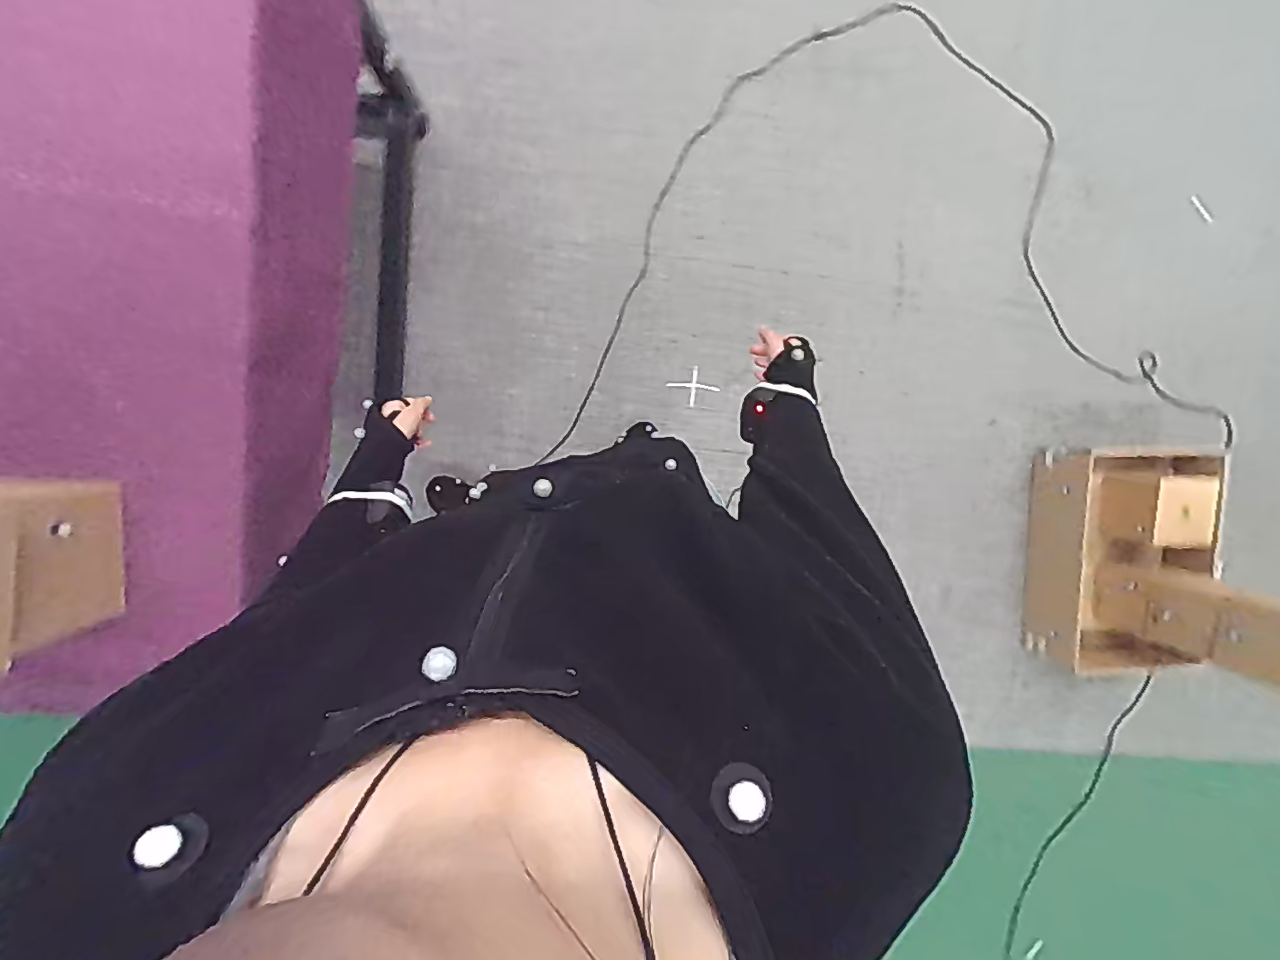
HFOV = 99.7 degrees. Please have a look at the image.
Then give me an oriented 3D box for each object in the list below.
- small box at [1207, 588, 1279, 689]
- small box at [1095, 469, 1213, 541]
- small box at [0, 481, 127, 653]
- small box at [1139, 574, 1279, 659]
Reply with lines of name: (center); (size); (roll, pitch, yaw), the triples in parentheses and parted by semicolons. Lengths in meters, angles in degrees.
small box: (1.427, 0.355, 1.197); (0.168, 0.176, 0.179); (5, 96, -5)
small box: (1.411, 0.064, 1.496); (0.168, 0.176, 0.179); (0, 98, -3)
small box: (-0.769, 0.096, 0.646); (0.168, 0.176, 0.179); (3, 96, -5)
small box: (1.429, 0.339, 1.362); (0.179, 0.176, 0.168); (1, 96, -4)
